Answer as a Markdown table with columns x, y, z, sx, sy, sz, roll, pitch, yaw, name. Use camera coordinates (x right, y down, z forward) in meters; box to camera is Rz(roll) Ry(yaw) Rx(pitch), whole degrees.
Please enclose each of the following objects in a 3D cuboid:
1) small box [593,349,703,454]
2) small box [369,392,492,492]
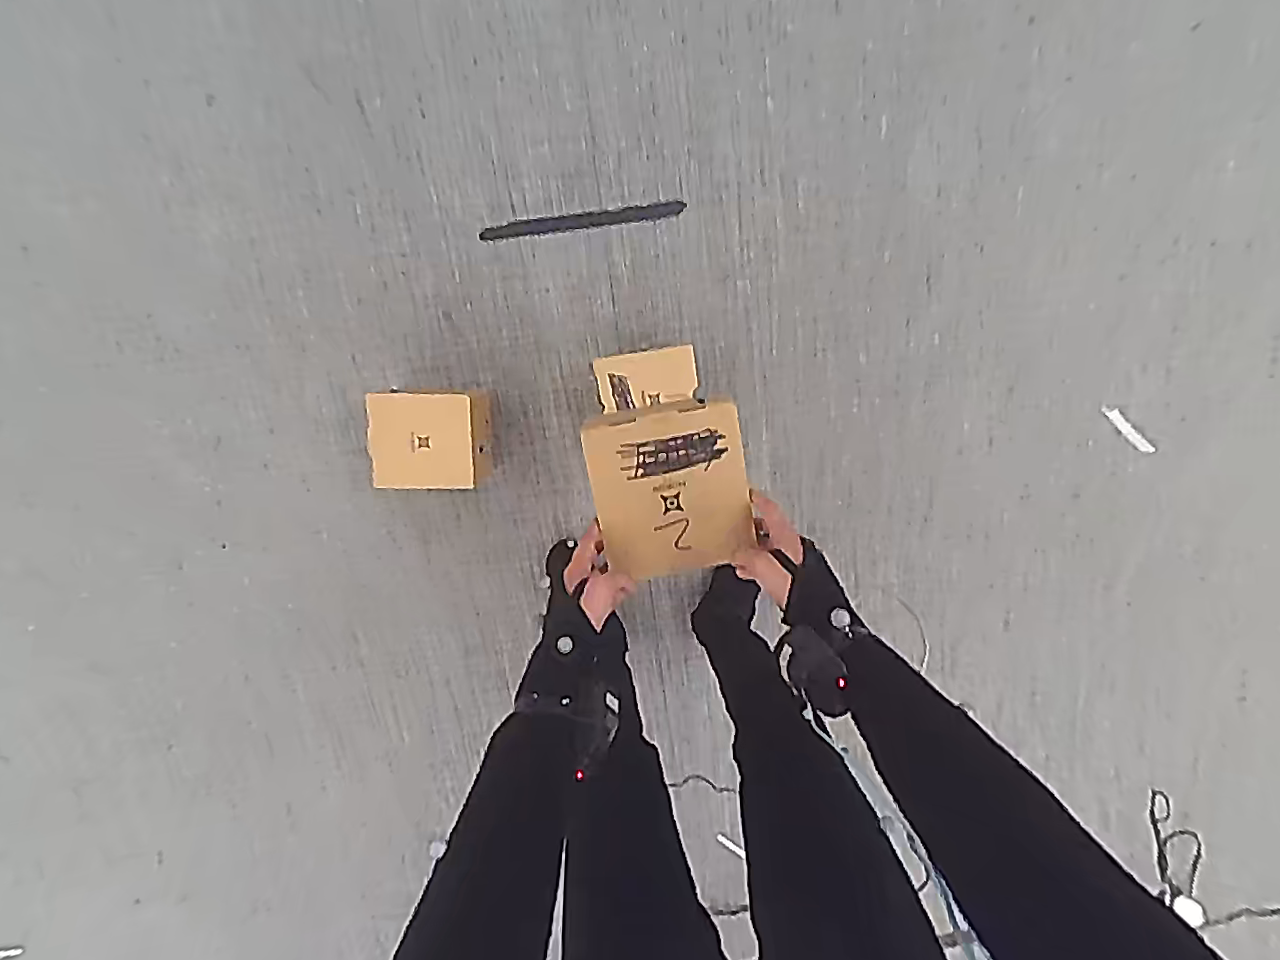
| x | y | z | sx | sy | sz | roll | pitch | yaw | name |
| --- | --- | --- | --- | --- | --- | --- | --- | --- | --- |
| 0.011 | -0.150 | 1.020 | 0.179 | 0.176 | 0.168 | -9 | 102 | -3 | small box |
| -0.378 | -0.077 | 1.011 | 0.179 | 0.176 | 0.168 | 0 | 102 | -3 | small box |
